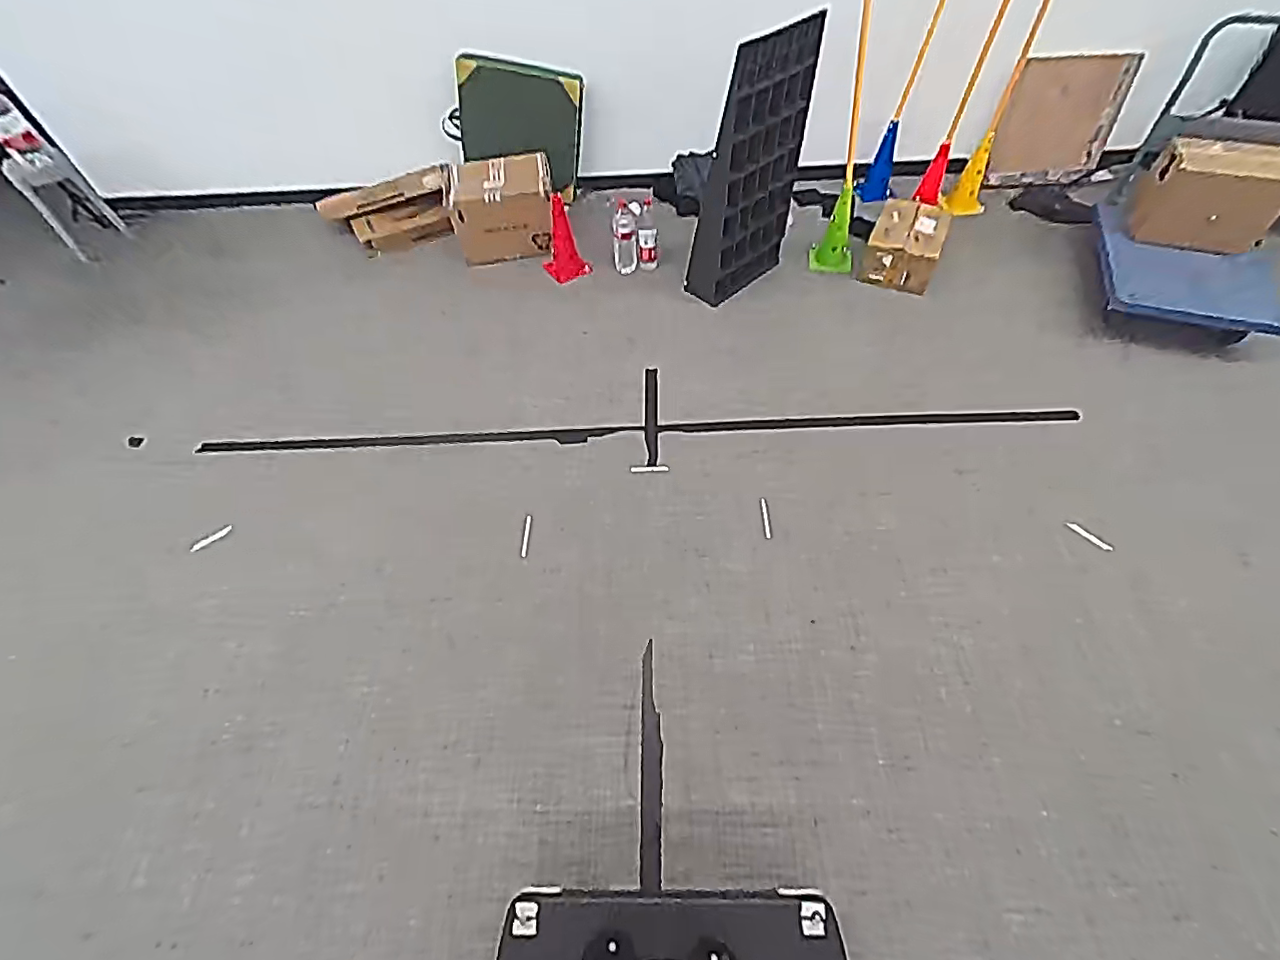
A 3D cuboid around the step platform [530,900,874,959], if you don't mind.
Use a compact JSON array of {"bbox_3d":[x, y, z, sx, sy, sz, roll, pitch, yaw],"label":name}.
[{"bbox_3d":[0.115,1.018,1.040,0.684,0.204,0.286,2,52,4],"label":"step platform"}]
